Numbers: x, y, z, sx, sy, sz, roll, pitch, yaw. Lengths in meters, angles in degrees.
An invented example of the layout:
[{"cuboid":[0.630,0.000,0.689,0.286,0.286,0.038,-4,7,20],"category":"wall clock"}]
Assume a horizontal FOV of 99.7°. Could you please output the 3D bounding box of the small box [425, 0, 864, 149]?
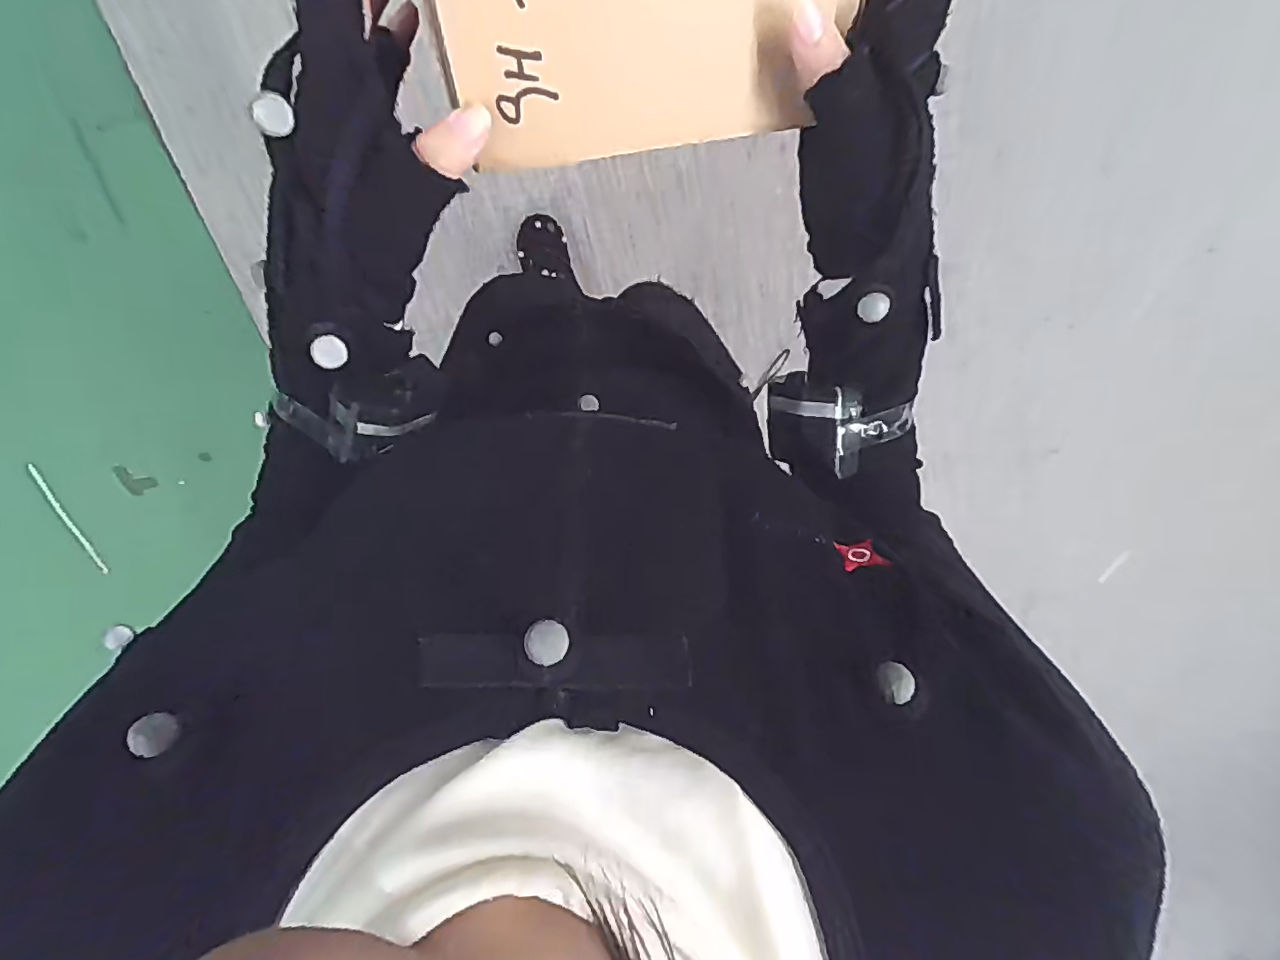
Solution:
[{"cuboid":[-0.014,-0.264,0.242,0.179,0.176,0.168,-14,131,-11],"category":"small box"}]
